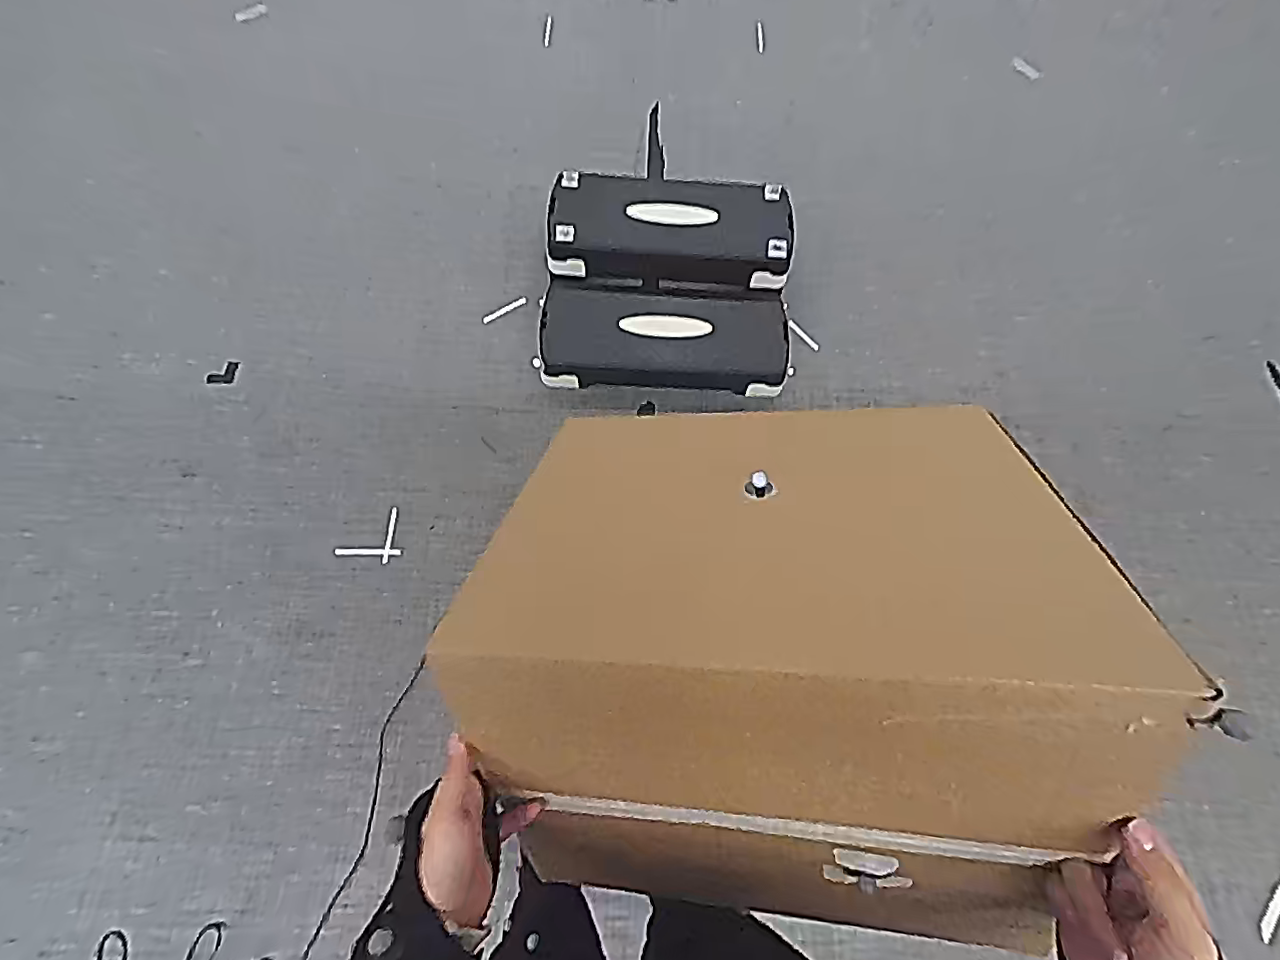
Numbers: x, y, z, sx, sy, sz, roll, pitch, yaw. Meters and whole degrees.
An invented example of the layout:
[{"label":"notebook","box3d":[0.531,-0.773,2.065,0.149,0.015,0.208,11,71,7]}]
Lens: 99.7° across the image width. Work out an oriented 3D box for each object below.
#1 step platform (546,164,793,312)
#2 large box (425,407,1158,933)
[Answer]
[{"label":"step platform","box3d":[0.081,-0.685,1.532,0.684,0.204,0.286,8,69,0]},{"label":"large box","box3d":[0.099,0.145,0.498,0.408,0.320,0.320,-2,33,12]}]
